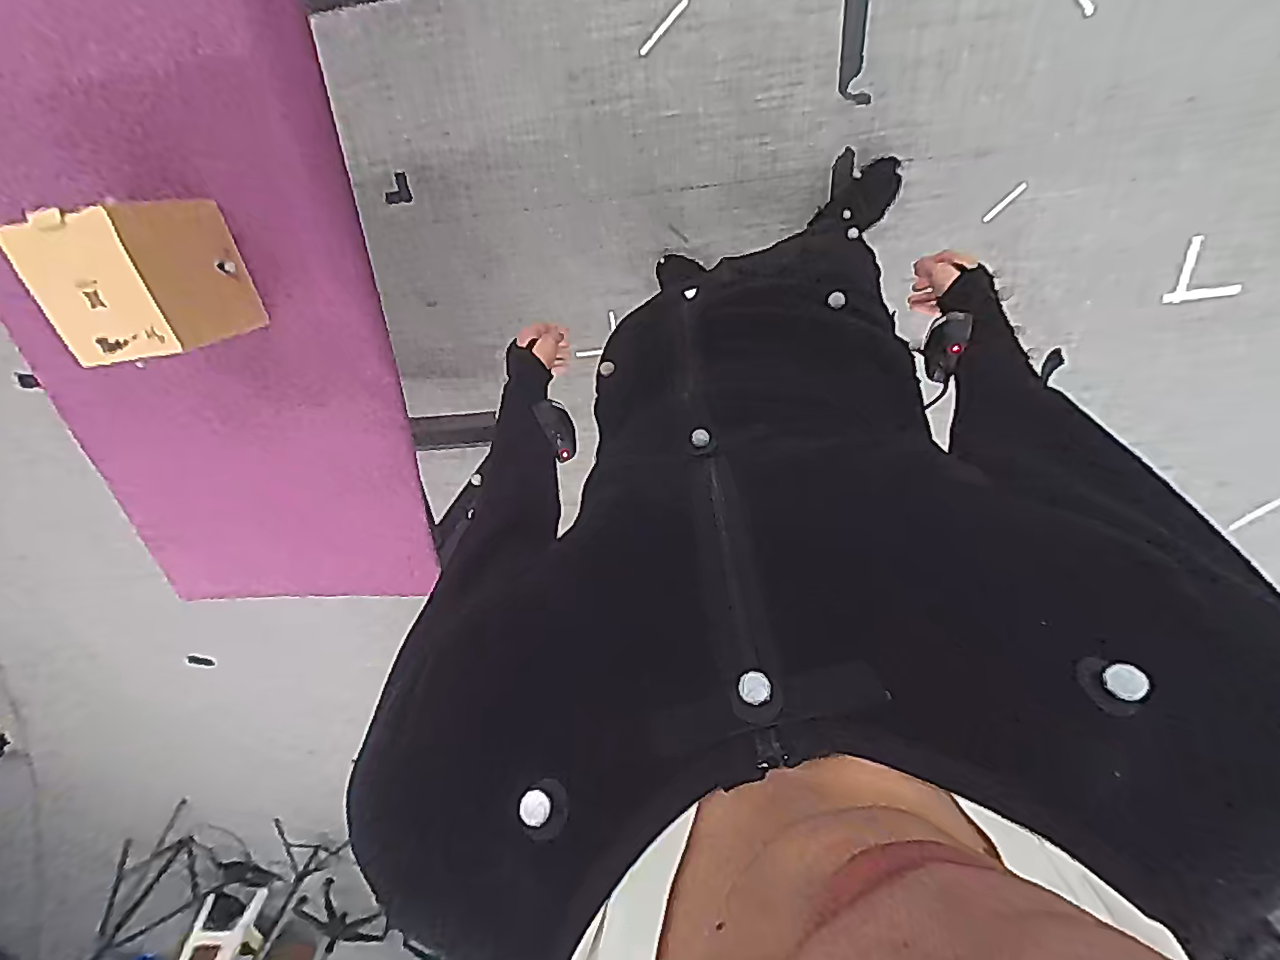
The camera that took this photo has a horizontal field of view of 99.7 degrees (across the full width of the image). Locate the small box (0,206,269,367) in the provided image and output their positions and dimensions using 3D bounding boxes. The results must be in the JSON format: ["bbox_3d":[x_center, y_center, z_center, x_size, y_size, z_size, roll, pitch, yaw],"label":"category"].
[{"bbox_3d":[-0.671,-0.271,0.746,0.168,0.176,0.179,-5,118,10],"label":"small box"}]
